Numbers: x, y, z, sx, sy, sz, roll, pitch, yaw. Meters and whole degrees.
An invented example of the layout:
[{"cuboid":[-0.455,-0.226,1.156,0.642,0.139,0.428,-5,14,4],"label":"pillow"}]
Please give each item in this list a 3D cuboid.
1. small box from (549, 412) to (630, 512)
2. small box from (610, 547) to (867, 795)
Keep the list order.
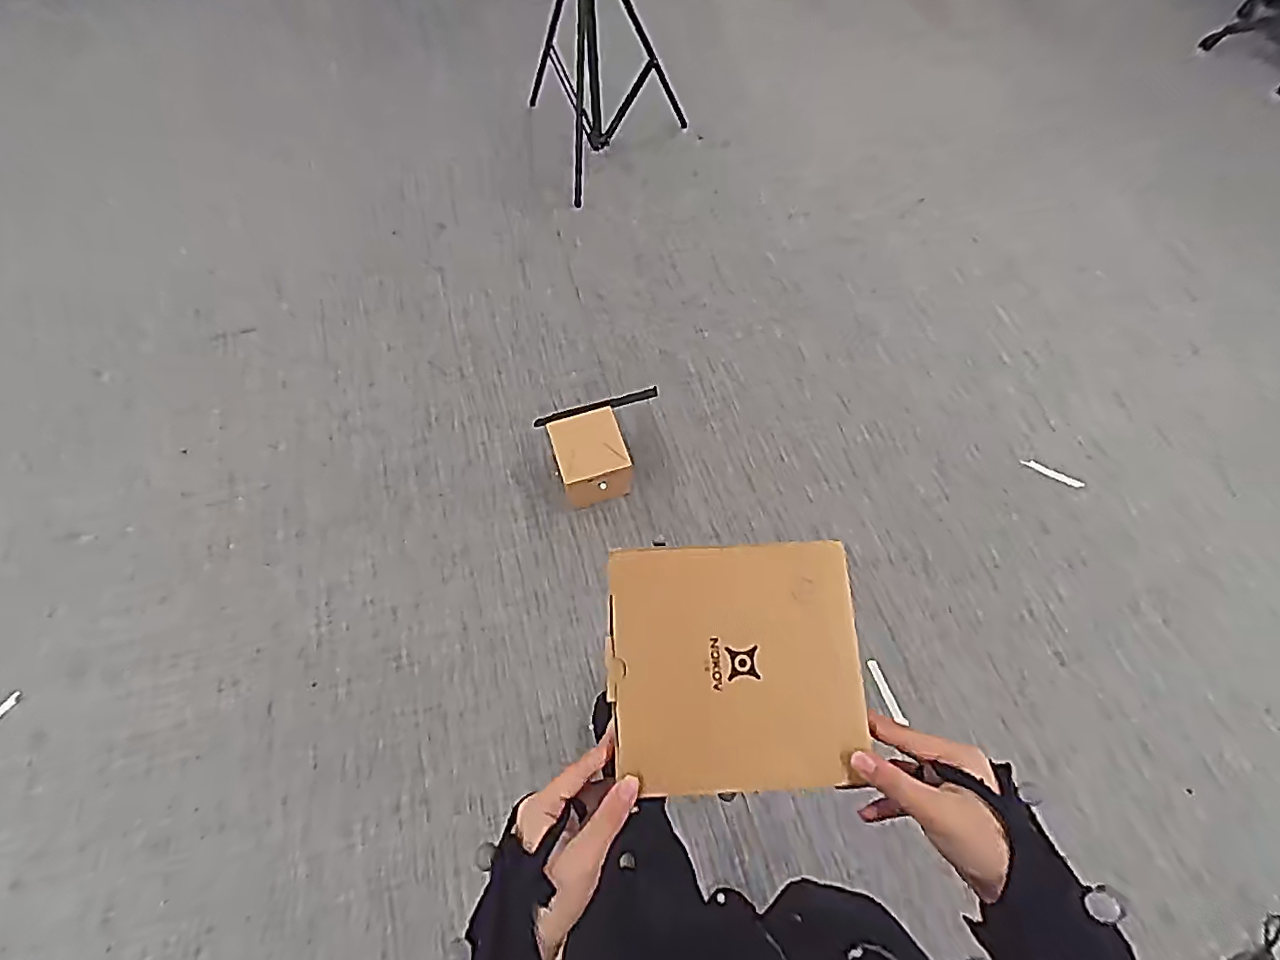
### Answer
[{"cuboid":[-0.127,-0.048,1.372,0.168,0.176,0.179,-17,66,-8],"label":"small box"},{"cuboid":[0.066,0.147,0.461,0.179,0.176,0.168,-2,77,0],"label":"small box"}]
